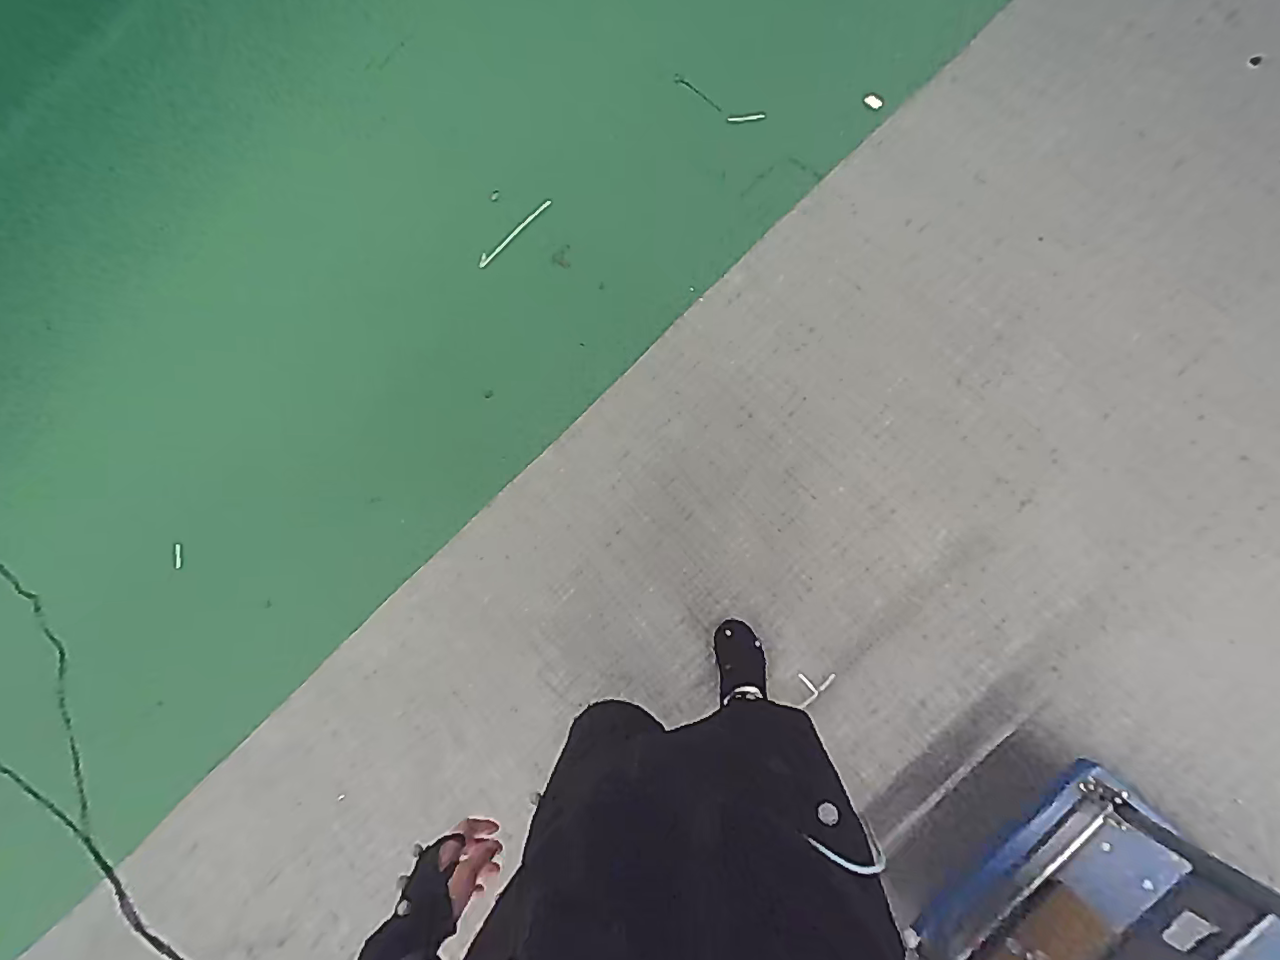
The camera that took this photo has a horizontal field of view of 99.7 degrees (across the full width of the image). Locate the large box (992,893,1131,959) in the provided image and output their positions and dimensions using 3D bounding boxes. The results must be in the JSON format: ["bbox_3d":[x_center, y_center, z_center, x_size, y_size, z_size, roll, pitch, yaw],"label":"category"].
[{"bbox_3d":[0.785,0.976,0.818,0.320,0.320,0.408,-46,72,0],"label":"large box"}]
